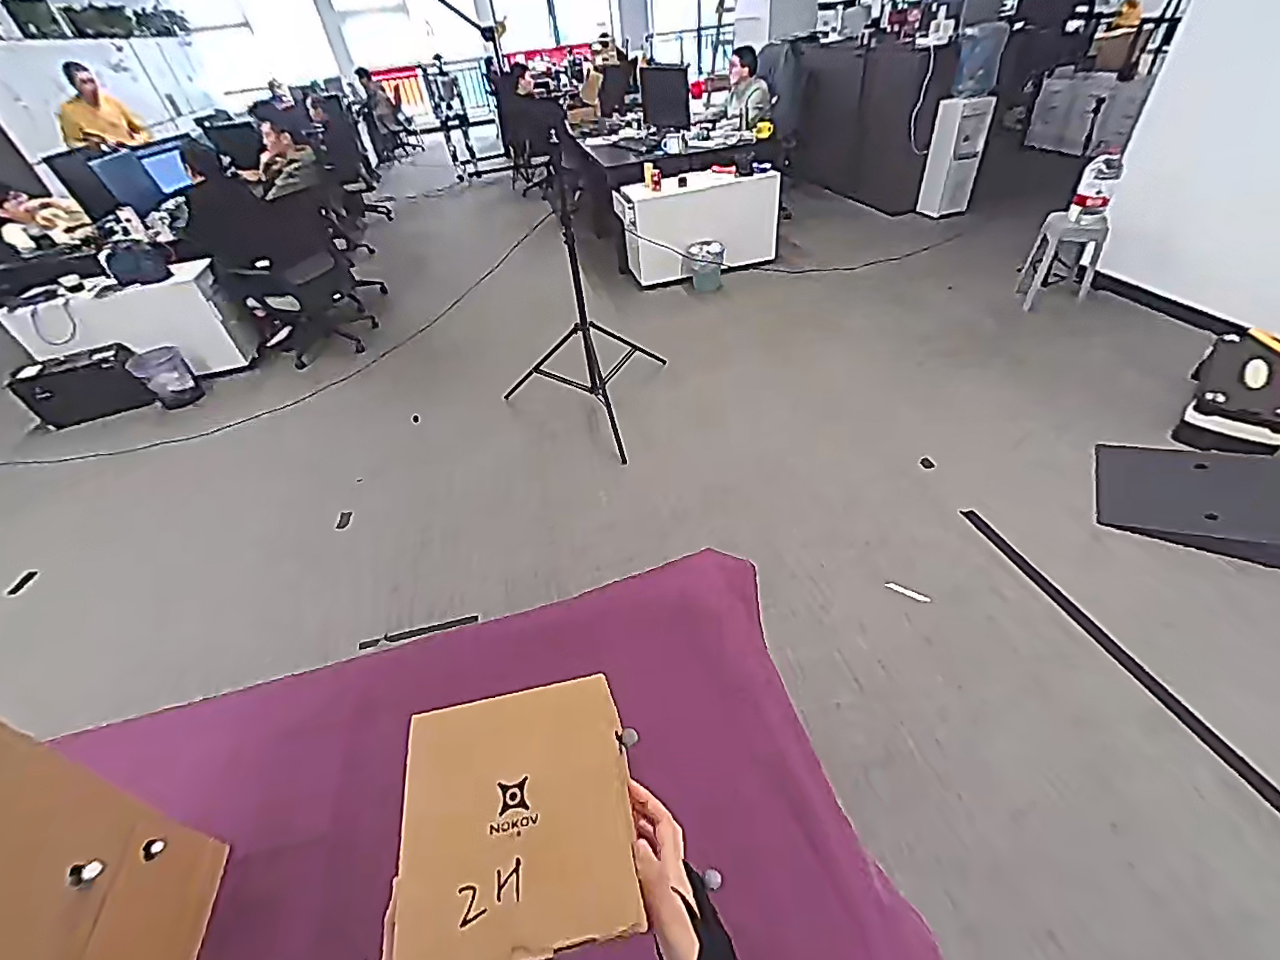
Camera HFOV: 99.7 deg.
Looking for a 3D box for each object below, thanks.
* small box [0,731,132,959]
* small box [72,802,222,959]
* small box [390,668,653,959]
[{"bbox_3d":[-0.634,0.372,0.496,0.168,0.176,0.179,-14,40,-7],"label":"small box"},{"bbox_3d":[-0.616,0.499,0.599,0.168,0.176,0.179,-13,41,-7],"label":"small box"},{"bbox_3d":[-0.088,0.292,0.464,0.168,0.176,0.179,-12,49,-3],"label":"small box"}]
